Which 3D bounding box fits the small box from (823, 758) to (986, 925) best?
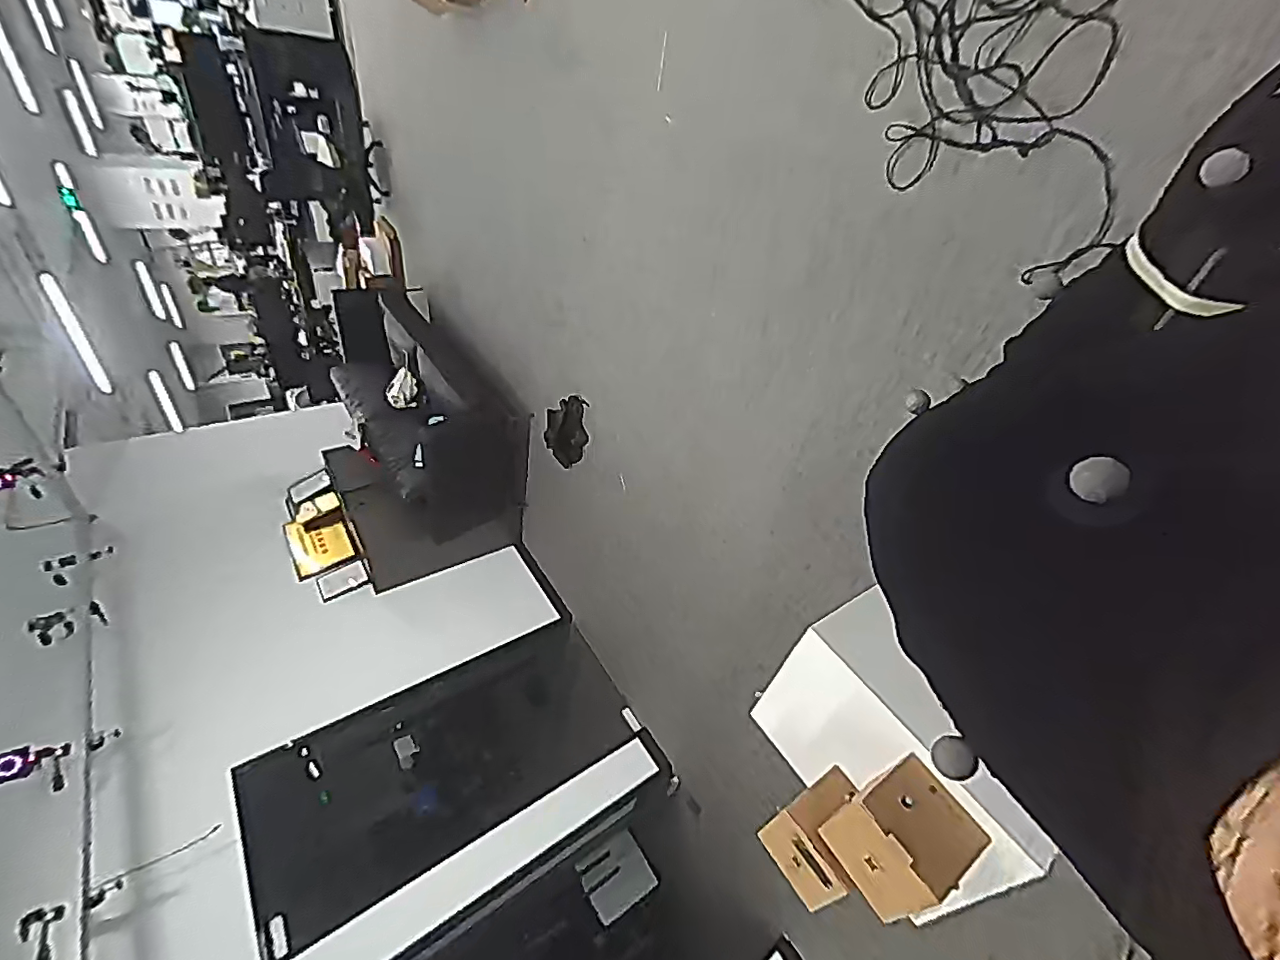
[{"bbox_3d":[0.467,0.631,0.955,0.168,0.176,0.179,50,144,34],"label":"small box"}]
